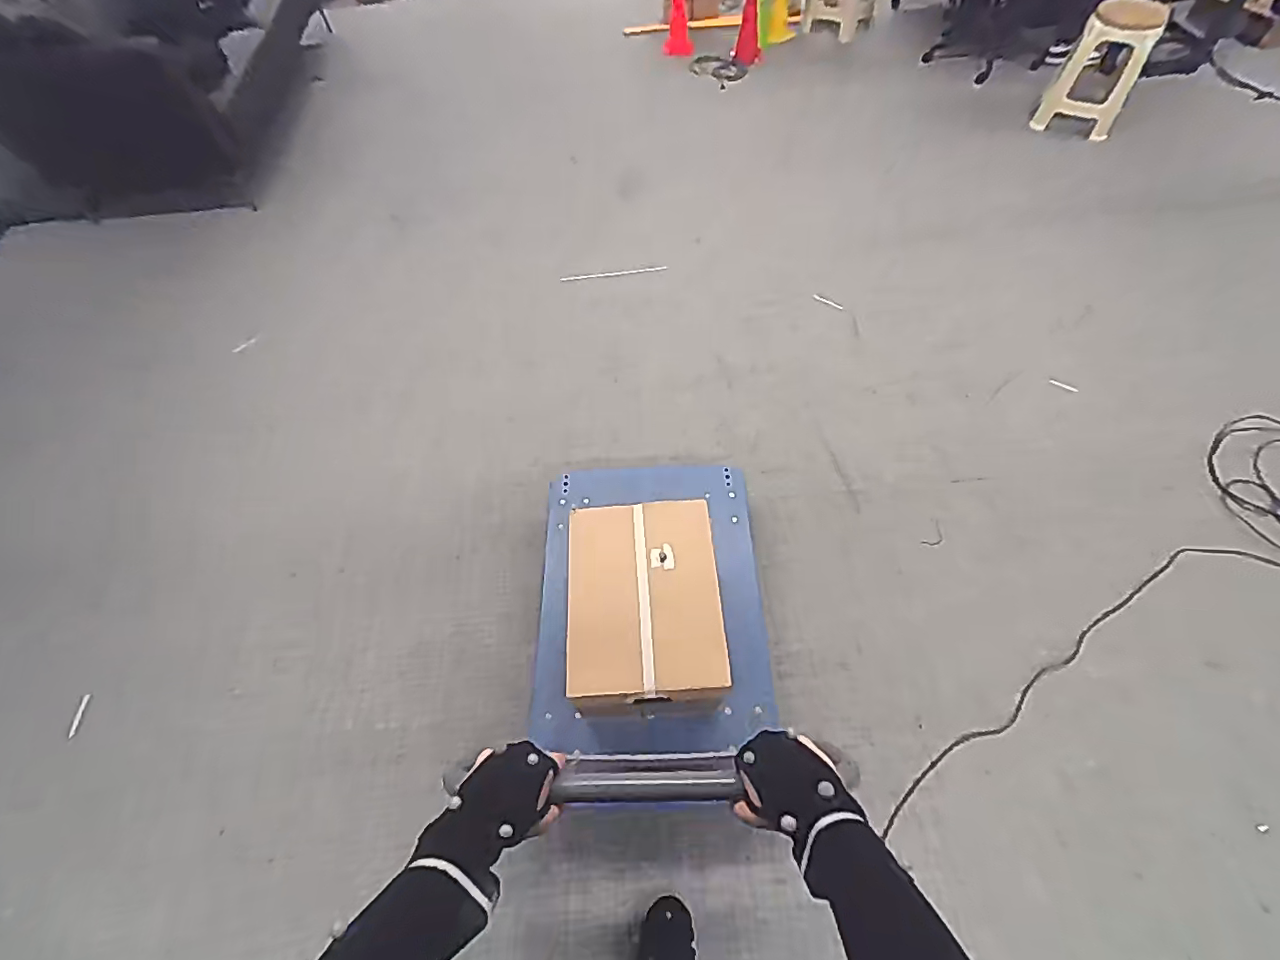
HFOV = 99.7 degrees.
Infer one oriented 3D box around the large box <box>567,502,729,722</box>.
[{"bbox_3d":[0.012,0.311,1.249,0.320,0.320,0.408,-4,58,0],"label":"large box"}]
